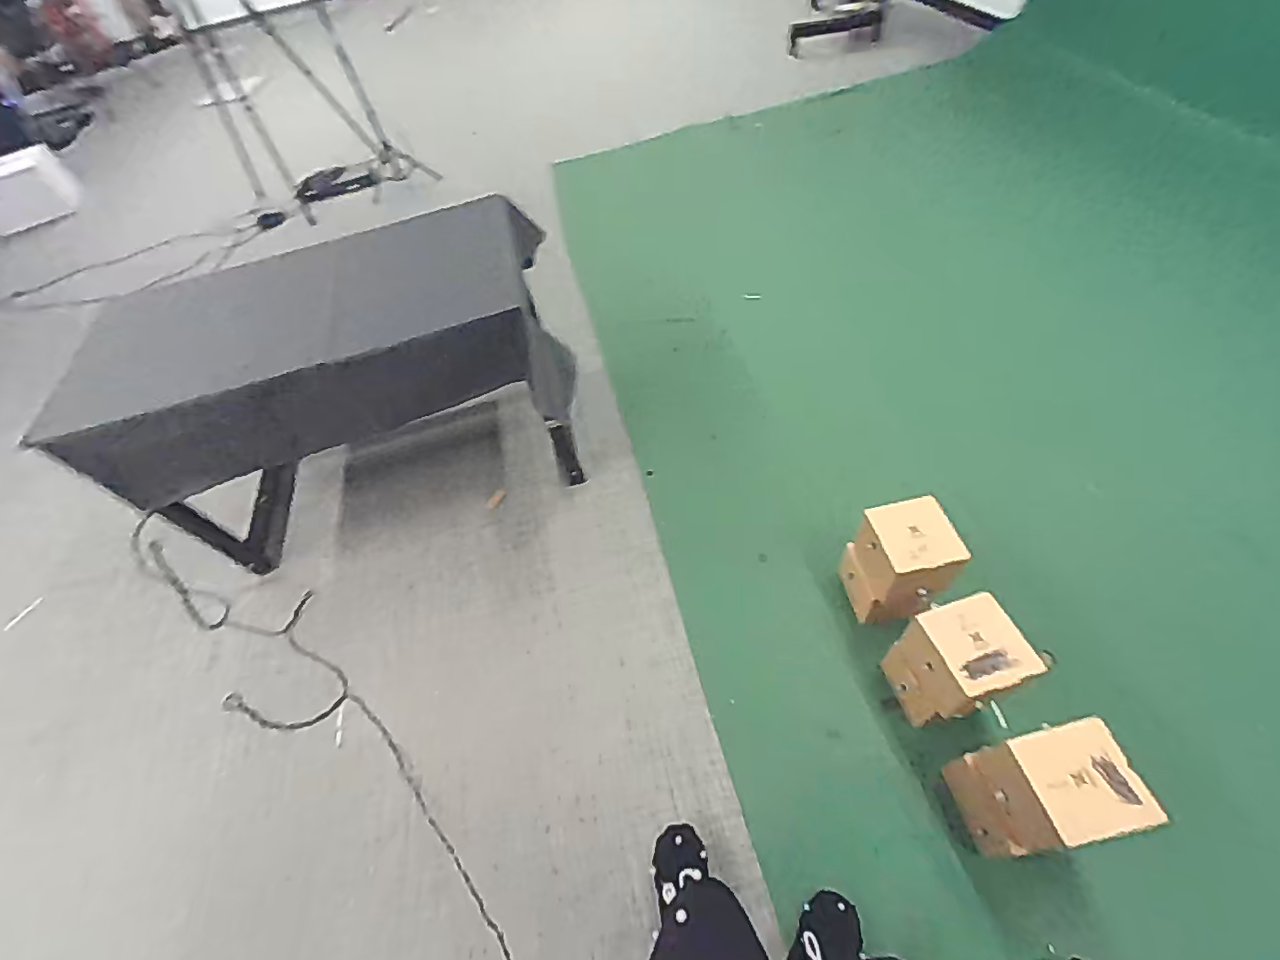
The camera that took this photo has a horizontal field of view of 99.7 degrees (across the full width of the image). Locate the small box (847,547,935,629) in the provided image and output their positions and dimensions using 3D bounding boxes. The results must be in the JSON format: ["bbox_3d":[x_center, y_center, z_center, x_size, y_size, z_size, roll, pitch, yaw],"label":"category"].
[{"bbox_3d":[0.657,0.276,1.420,0.179,0.176,0.168,-11,52,2],"label":"small box"}]

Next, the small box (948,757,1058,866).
[{"bbox_3d":[0.768,0.668,1.101,0.168,0.176,0.179,-12,53,1],"label":"small box"}]

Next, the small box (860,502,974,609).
[{"bbox_3d":[0.644,0.181,1.285,0.168,0.176,0.179,-12,52,2],"label":"small box"}]

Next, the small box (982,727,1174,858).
[{"bbox_3d":[0.767,0.565,0.973,0.179,0.176,0.168,-14,53,0],"label":"small box"}]
